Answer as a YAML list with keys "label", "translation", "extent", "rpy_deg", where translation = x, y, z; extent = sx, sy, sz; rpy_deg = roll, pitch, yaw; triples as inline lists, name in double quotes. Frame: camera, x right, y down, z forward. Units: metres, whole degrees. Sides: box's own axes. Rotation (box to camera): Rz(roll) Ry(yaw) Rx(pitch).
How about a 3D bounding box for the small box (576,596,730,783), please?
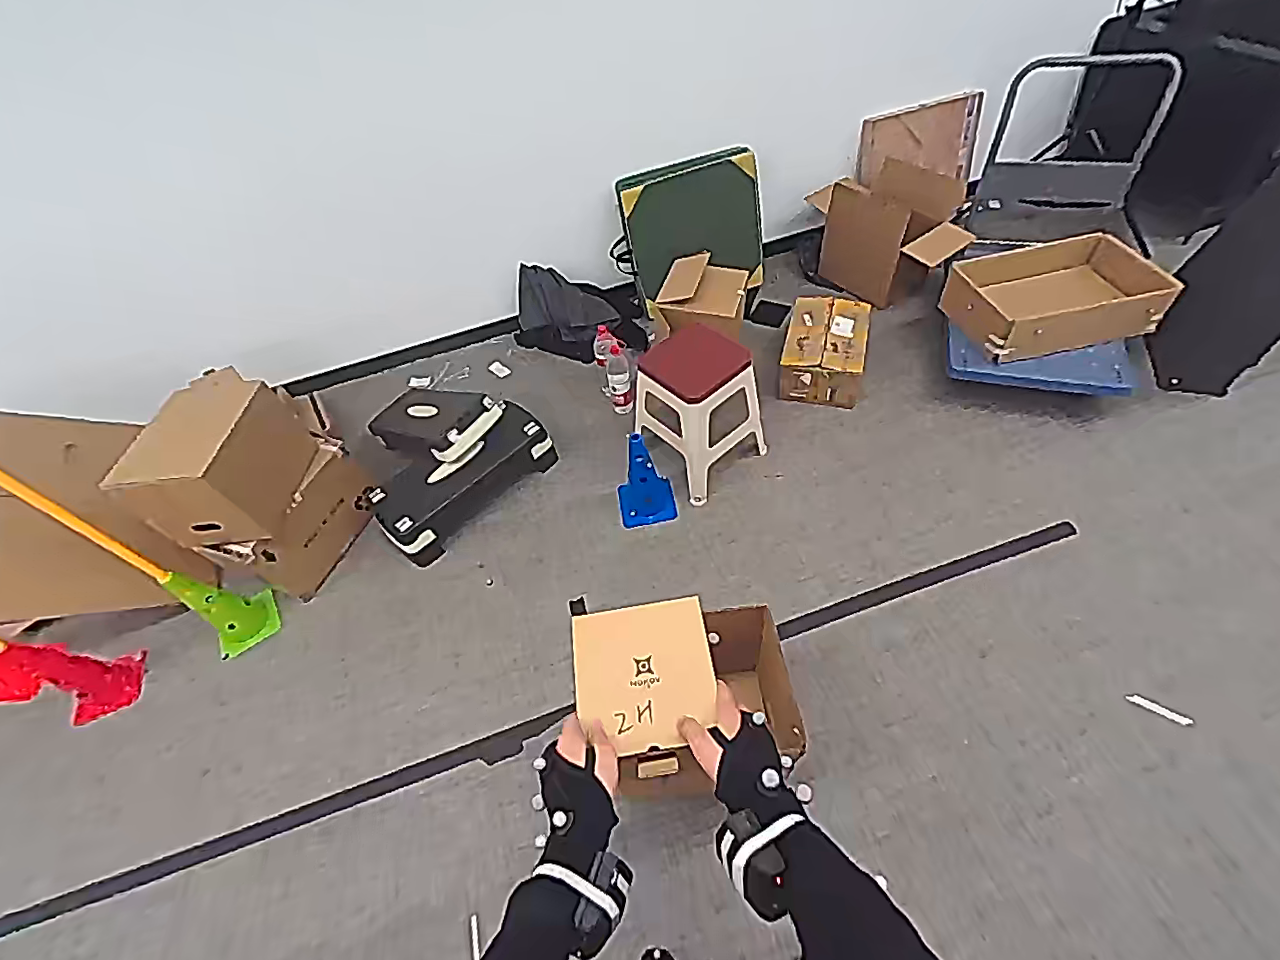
- label: "small box"
  translation: [0.015, 0.273, 0.696]
  extent: [0.168, 0.176, 0.179]
  rpy_deg: [-9, 54, 1]
